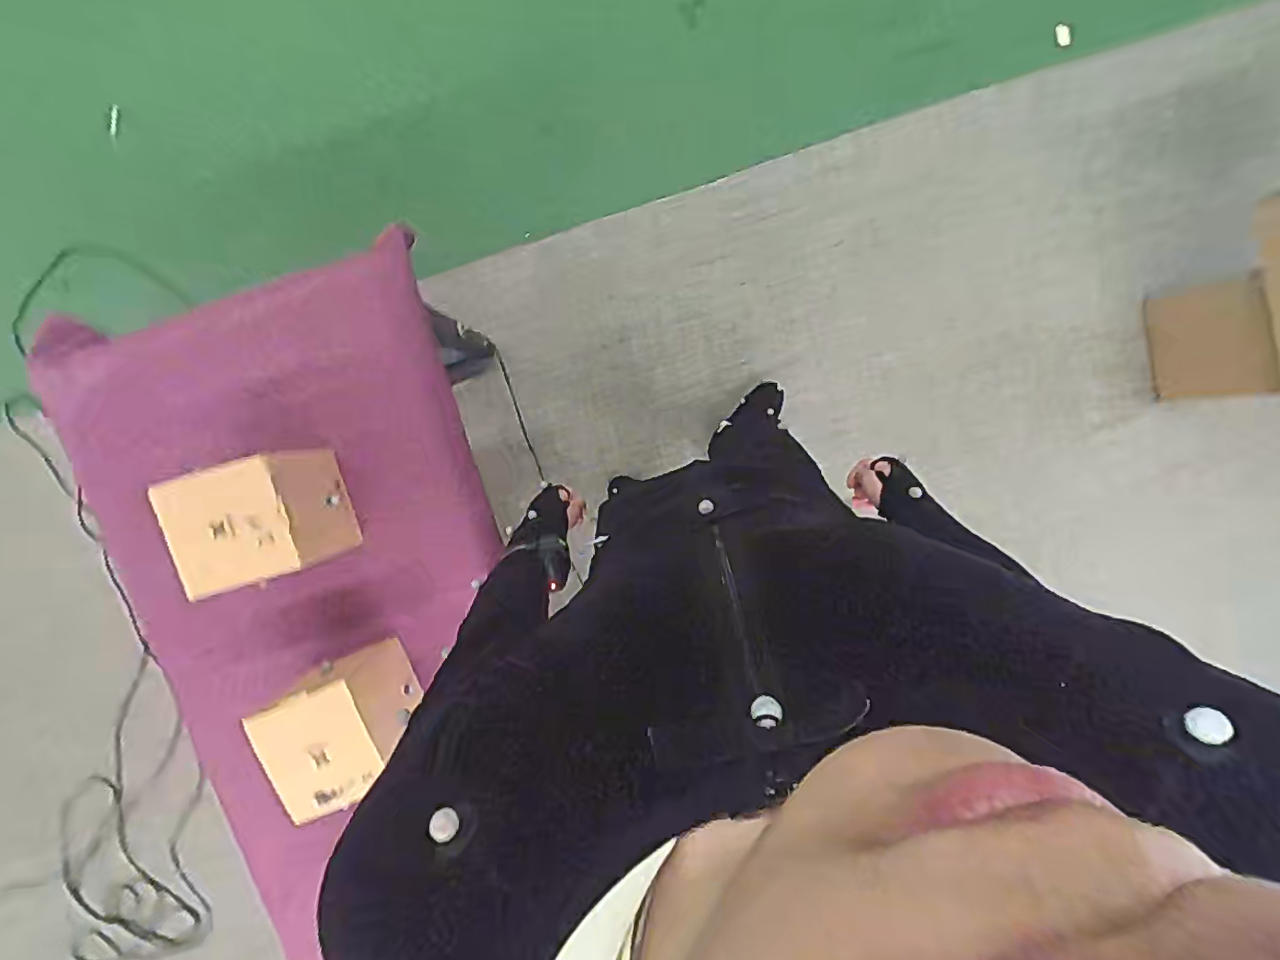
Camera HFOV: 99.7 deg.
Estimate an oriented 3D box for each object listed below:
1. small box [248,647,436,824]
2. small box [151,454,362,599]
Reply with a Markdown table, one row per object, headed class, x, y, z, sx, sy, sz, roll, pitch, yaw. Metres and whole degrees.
| class | x | y | z | sx | sy | sz | roll | pitch | yaw |
| --- | --- | --- | --- | --- | --- | --- | --- | --- | --- |
| small box | -0.456 | 0.386 | 0.858 | 0.168 | 0.176 | 0.179 | -22 | 94 | 3 |
| small box | -0.571 | 0.062 | 0.829 | 0.179 | 0.176 | 0.168 | -16 | 95 | 2 |
